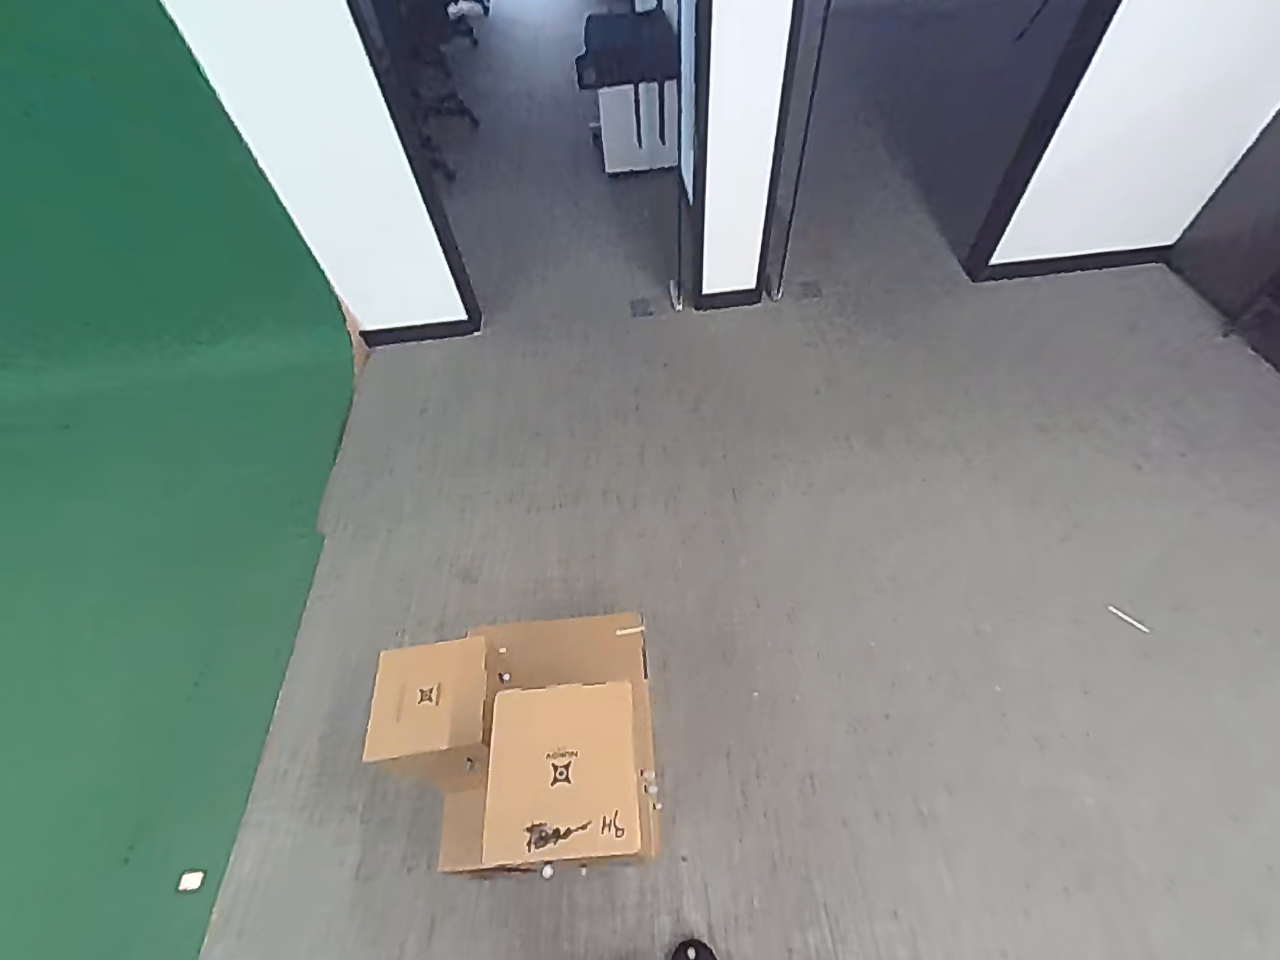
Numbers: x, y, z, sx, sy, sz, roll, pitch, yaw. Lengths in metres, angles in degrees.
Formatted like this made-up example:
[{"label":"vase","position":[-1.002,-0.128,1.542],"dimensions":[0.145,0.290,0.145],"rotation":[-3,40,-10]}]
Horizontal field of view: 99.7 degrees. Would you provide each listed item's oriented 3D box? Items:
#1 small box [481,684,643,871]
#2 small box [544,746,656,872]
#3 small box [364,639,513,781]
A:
[{"label":"small box","position":[-0.083,0.368,0.665],"dimensions":[0.168,0.176,0.179],"rotation":[-4,53,0]},{"label":"small box","position":[-0.065,0.565,0.926],"dimensions":[0.179,0.176,0.168],"rotation":[-4,52,0]},{"label":"small box","position":[-0.312,0.378,0.884],"dimensions":[0.179,0.176,0.168],"rotation":[-8,51,0]}]
